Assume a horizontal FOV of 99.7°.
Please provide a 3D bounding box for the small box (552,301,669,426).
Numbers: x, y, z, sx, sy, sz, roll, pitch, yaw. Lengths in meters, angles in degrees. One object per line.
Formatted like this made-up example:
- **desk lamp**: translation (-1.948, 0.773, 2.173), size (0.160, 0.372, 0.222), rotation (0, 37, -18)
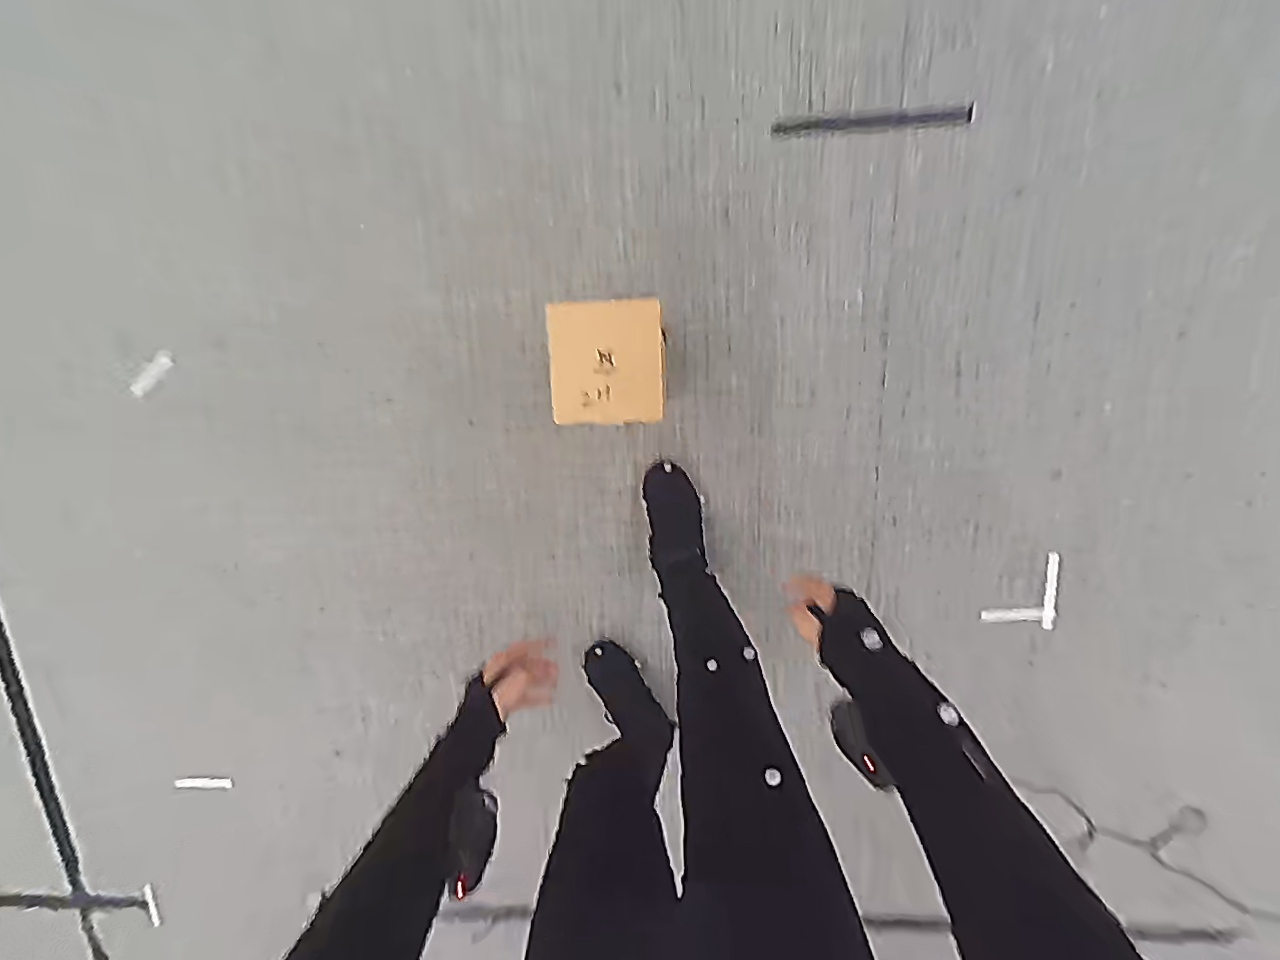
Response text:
- **small box**: translation (-0.038, -0.181, 0.857), size (0.168, 0.176, 0.179), rotation (-1, 103, 4)
